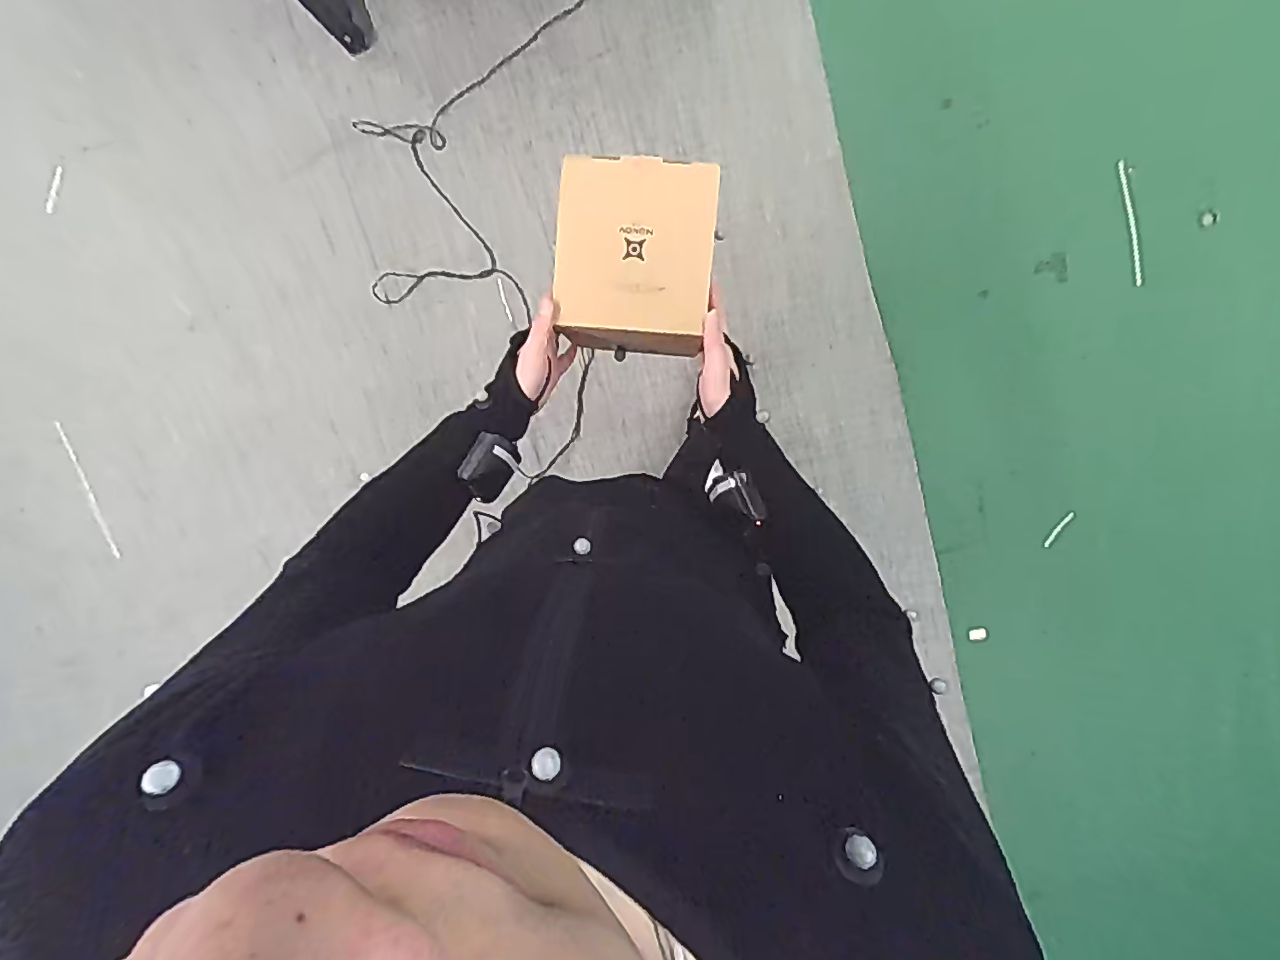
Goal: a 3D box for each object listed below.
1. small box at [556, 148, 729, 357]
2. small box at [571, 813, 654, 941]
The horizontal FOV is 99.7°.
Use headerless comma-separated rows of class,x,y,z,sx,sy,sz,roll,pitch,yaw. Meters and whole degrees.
small box,0.004,-0.250,0.631,0.168,0.176,0.179,5,95,2
small box,-0.057,0.909,1.248,0.168,0.176,0.179,-4,98,4
